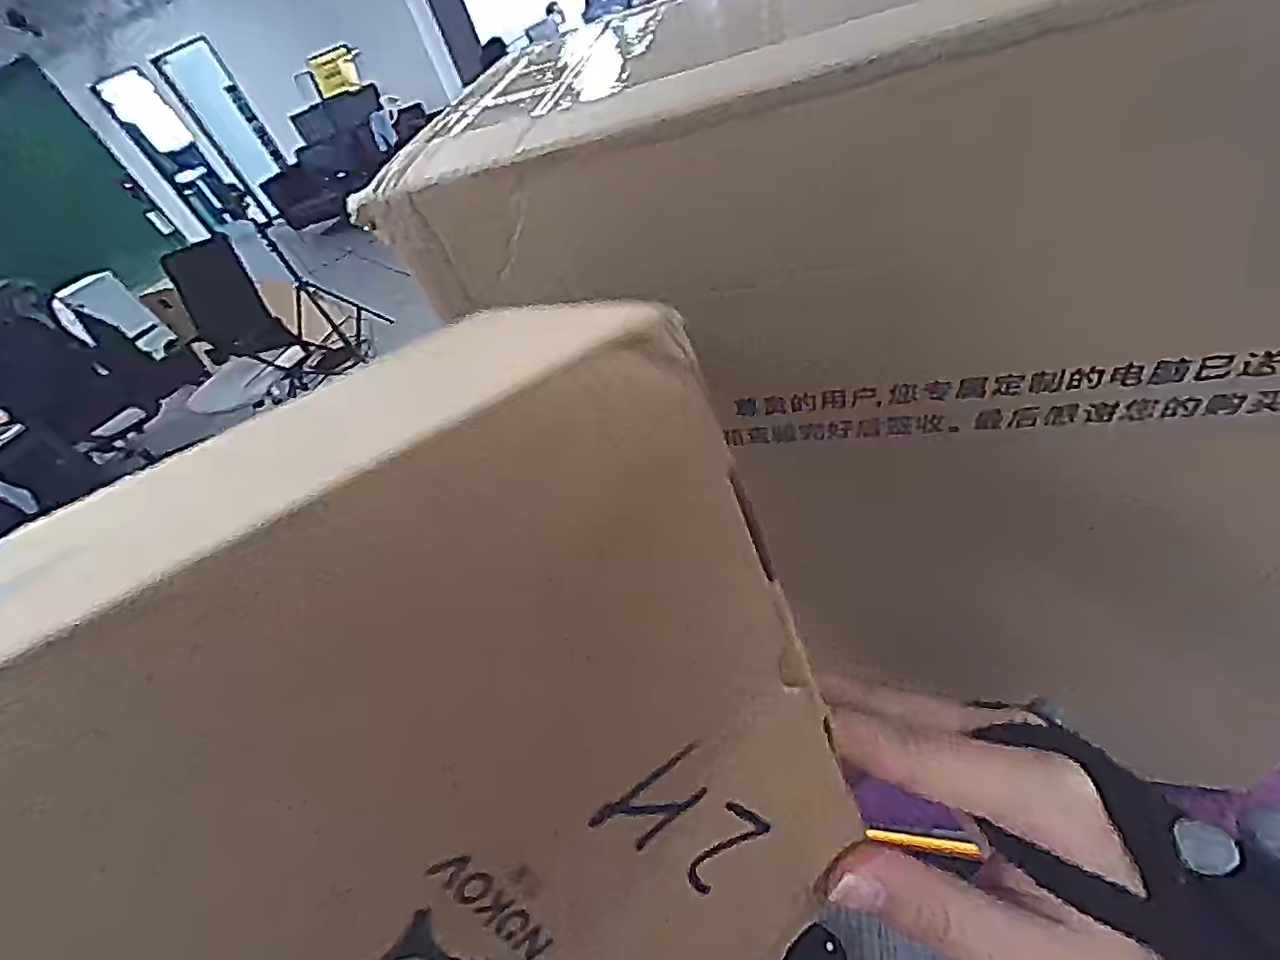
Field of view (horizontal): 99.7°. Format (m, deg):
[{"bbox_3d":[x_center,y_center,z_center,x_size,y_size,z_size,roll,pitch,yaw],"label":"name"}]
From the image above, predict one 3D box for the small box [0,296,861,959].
[{"bbox_3d":[-0.072,0.059,0.166,0.179,0.168,0.176,-32,28,-15],"label":"small box"}]
